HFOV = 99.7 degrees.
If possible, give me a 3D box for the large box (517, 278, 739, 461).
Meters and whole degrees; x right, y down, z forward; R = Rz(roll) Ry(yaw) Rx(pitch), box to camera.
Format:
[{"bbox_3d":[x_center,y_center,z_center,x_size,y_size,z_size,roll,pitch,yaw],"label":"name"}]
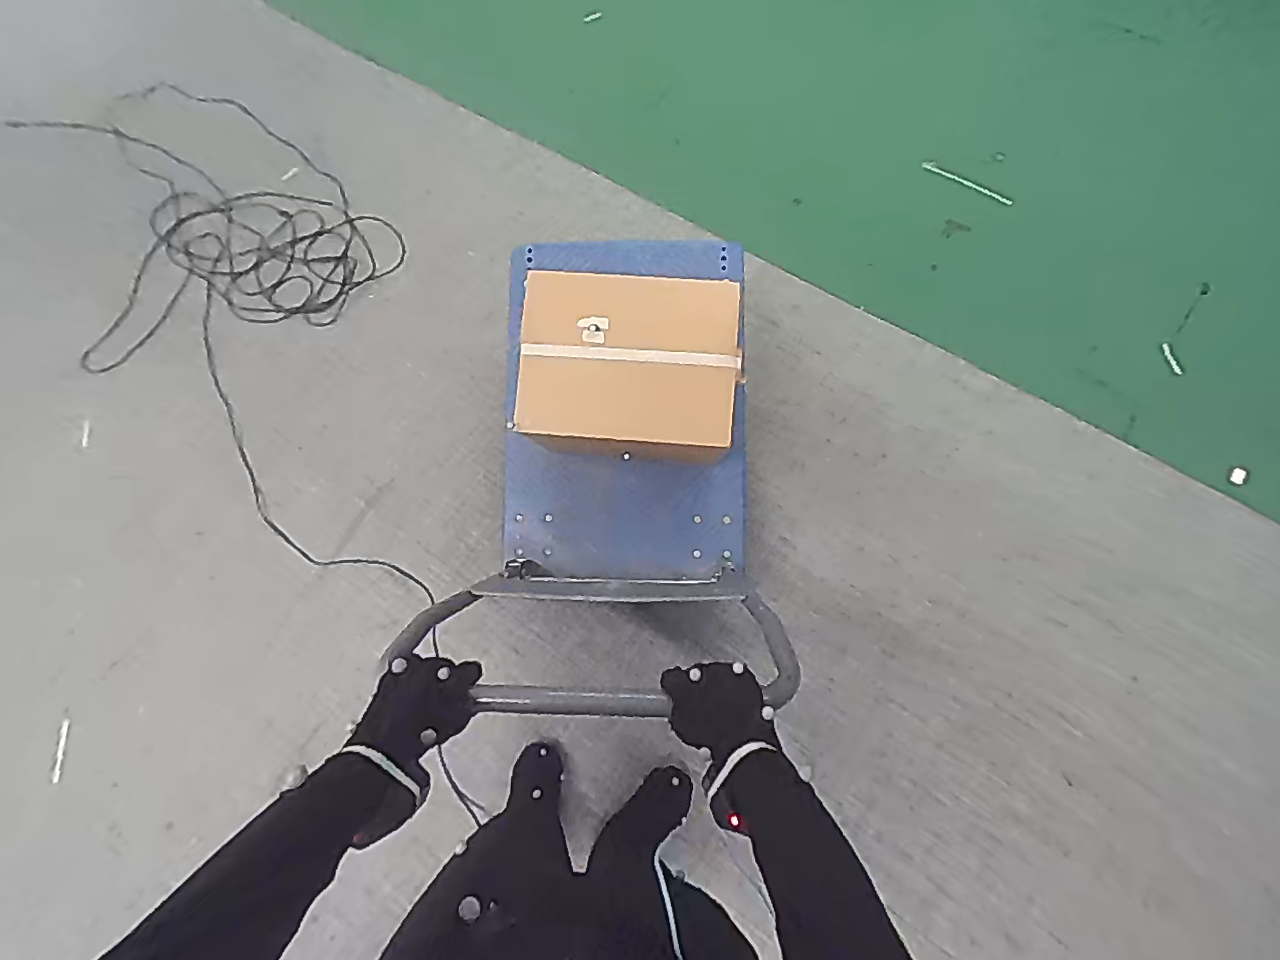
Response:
[{"bbox_3d":[-0.012,-0.212,1.152,0.408,0.320,0.320,4,86,4],"label":"large box"}]
